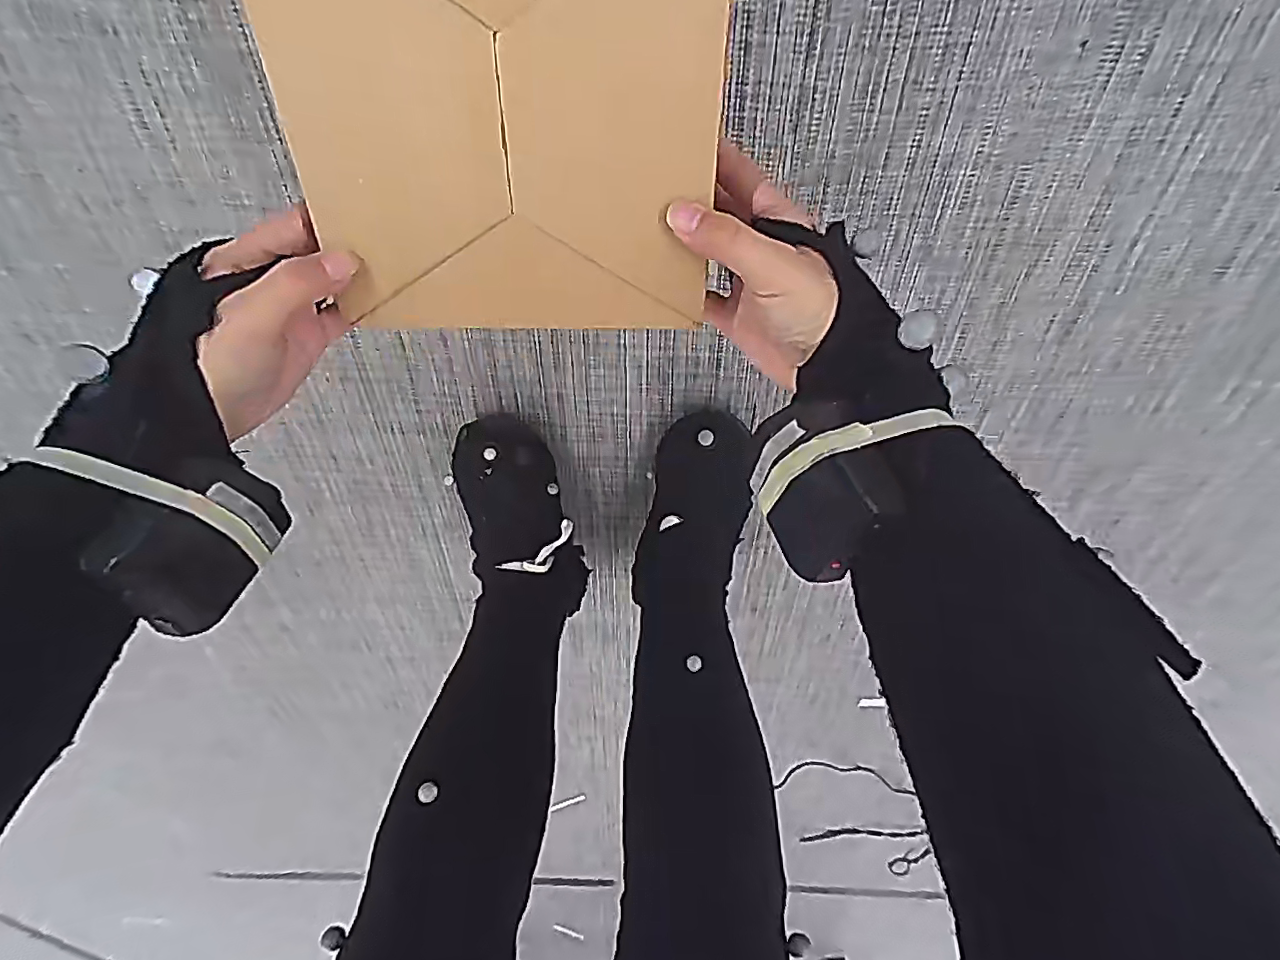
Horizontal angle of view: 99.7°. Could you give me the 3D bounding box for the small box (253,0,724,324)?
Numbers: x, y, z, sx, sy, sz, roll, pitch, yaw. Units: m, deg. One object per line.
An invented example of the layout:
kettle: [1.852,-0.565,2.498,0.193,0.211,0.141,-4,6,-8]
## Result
small box: [-0.055,-0.190,0.284,0.179,0.176,0.168,-1,126,-3]
